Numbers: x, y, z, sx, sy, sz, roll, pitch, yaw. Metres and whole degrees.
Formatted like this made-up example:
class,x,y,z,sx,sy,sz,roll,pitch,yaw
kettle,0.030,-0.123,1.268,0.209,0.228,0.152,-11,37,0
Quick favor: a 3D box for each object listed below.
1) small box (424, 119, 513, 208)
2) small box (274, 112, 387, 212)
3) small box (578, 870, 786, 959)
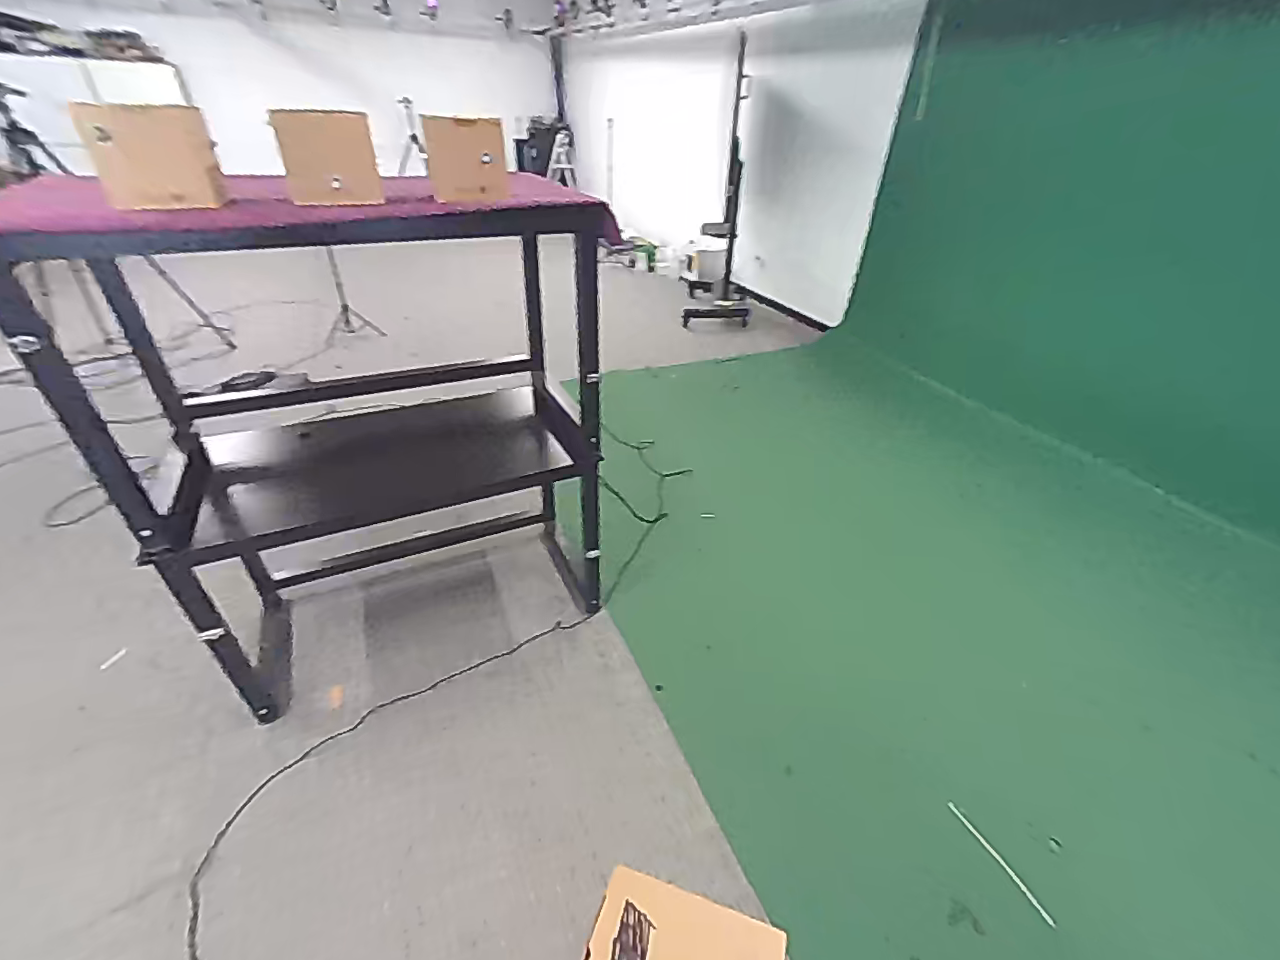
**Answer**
class,x,y,z,sx,sy,sz,roll,pitch,yaw
small box,-0.398,-0.738,1.260,0.168,0.176,0.179,-10,36,-19
small box,-0.651,-0.679,1.156,0.179,0.176,0.168,-13,36,-22
small box,0.023,0.515,0.490,0.179,0.176,0.168,11,27,18
